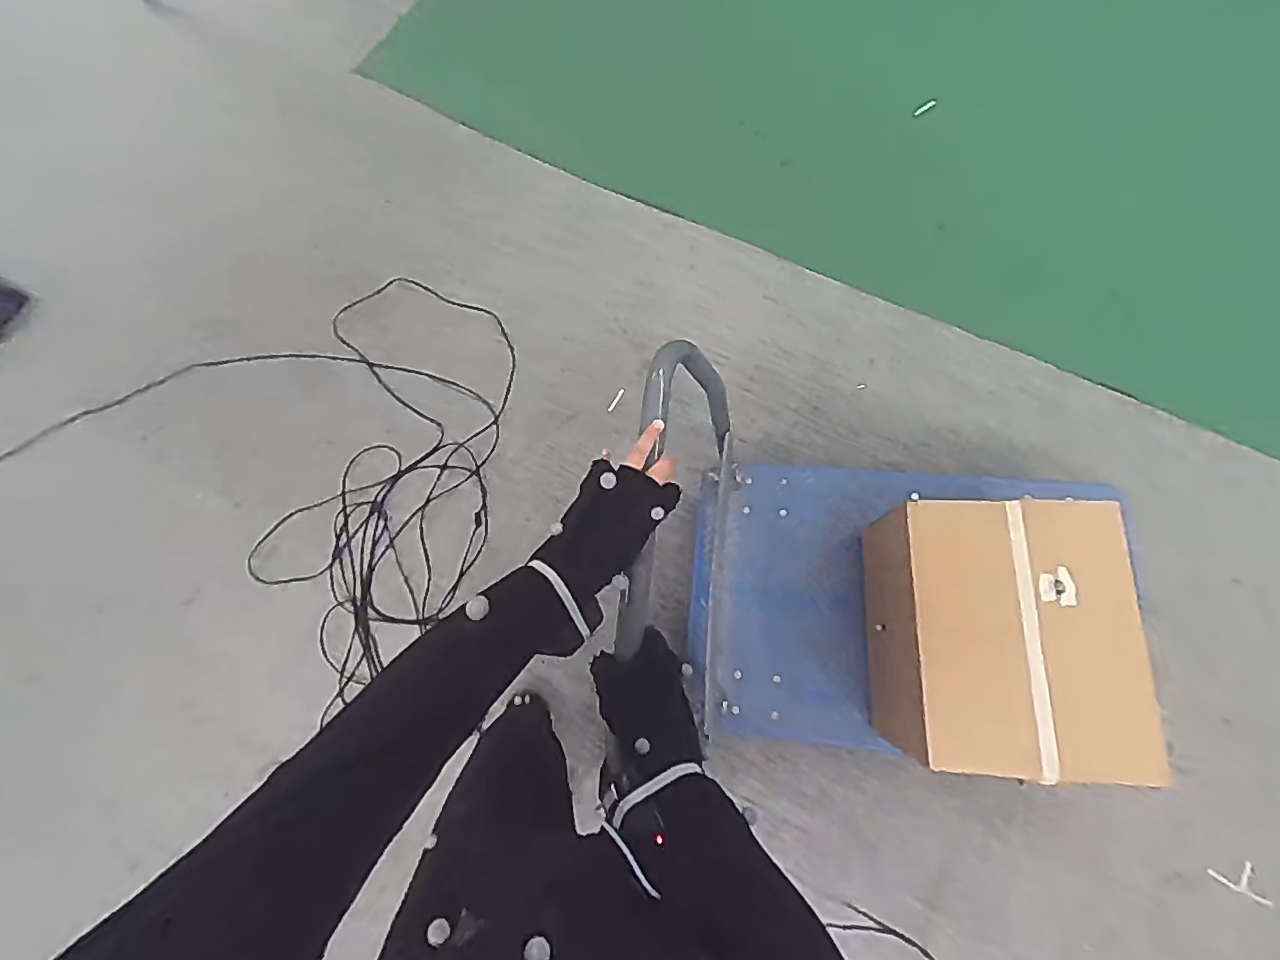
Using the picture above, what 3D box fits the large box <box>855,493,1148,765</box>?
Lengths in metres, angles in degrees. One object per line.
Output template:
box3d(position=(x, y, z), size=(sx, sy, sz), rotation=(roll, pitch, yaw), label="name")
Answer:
box3d(position=(0.594, 0.256, 0.976), size=(0.320, 0.320, 0.408), rotation=(0, 75, 8), label="large box")
